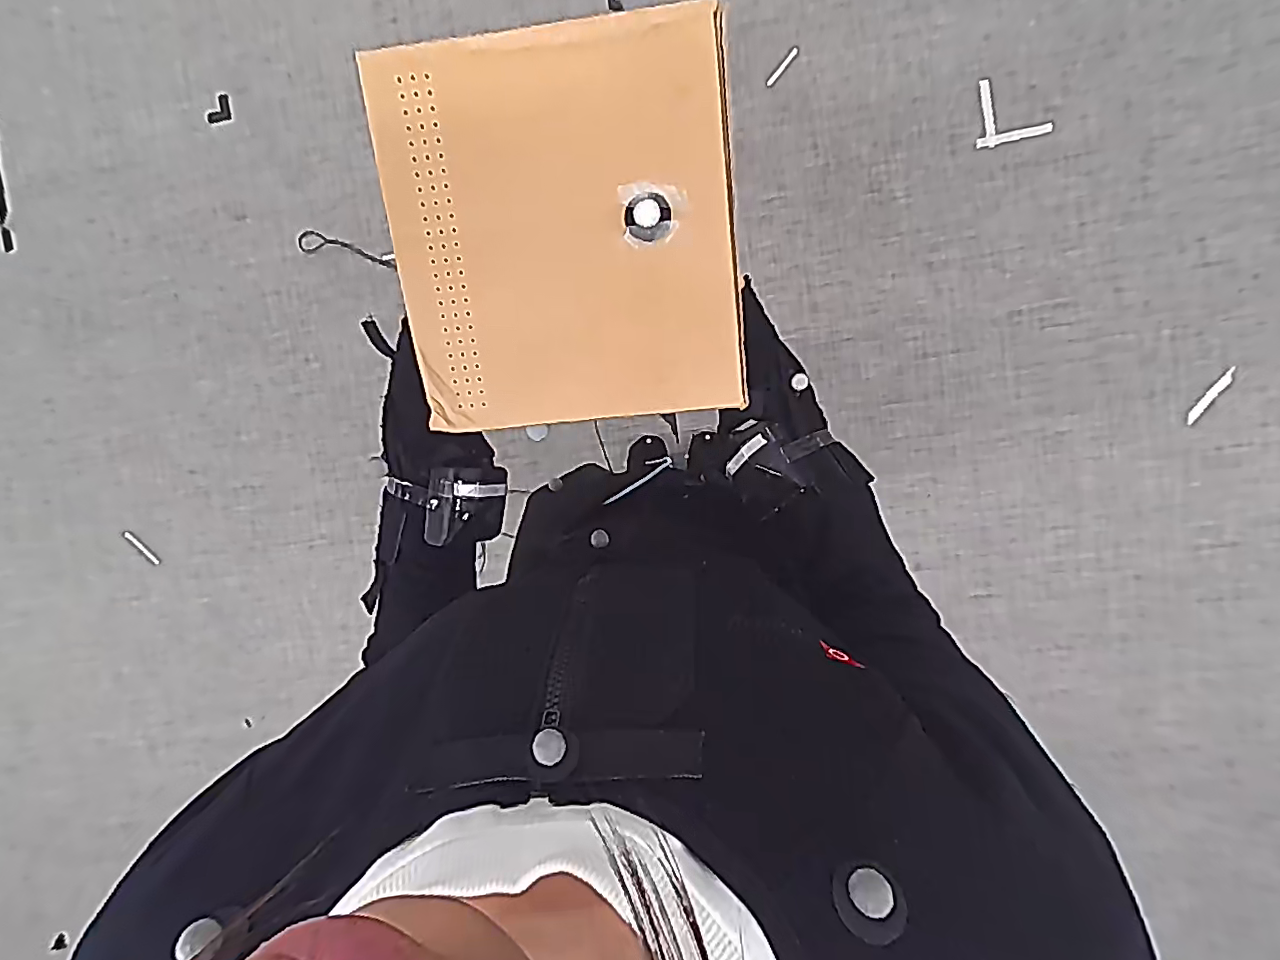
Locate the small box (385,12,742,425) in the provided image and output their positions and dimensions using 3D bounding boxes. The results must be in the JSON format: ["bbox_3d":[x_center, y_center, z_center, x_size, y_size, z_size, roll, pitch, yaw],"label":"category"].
[{"bbox_3d":[-0.035,-0.139,0.345,0.176,0.168,0.179,-5,104,5],"label":"small box"}]
